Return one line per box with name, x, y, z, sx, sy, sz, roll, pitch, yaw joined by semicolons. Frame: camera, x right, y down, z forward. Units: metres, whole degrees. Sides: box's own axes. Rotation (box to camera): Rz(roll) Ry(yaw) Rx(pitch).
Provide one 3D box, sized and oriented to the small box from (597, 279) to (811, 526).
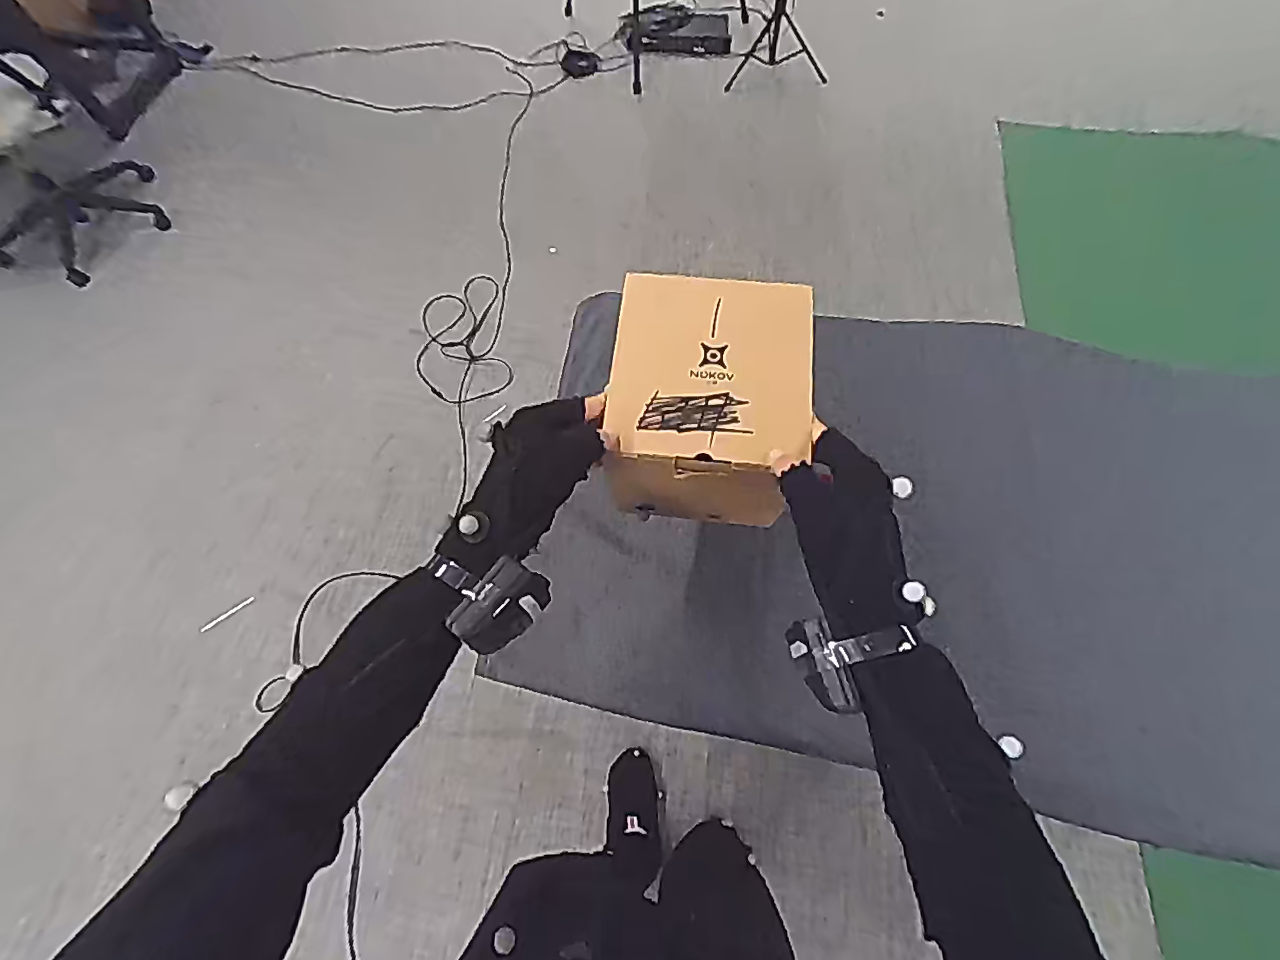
small box;0.061;-0.063;0.520;0.168;0.176;0.179;5;70;4
